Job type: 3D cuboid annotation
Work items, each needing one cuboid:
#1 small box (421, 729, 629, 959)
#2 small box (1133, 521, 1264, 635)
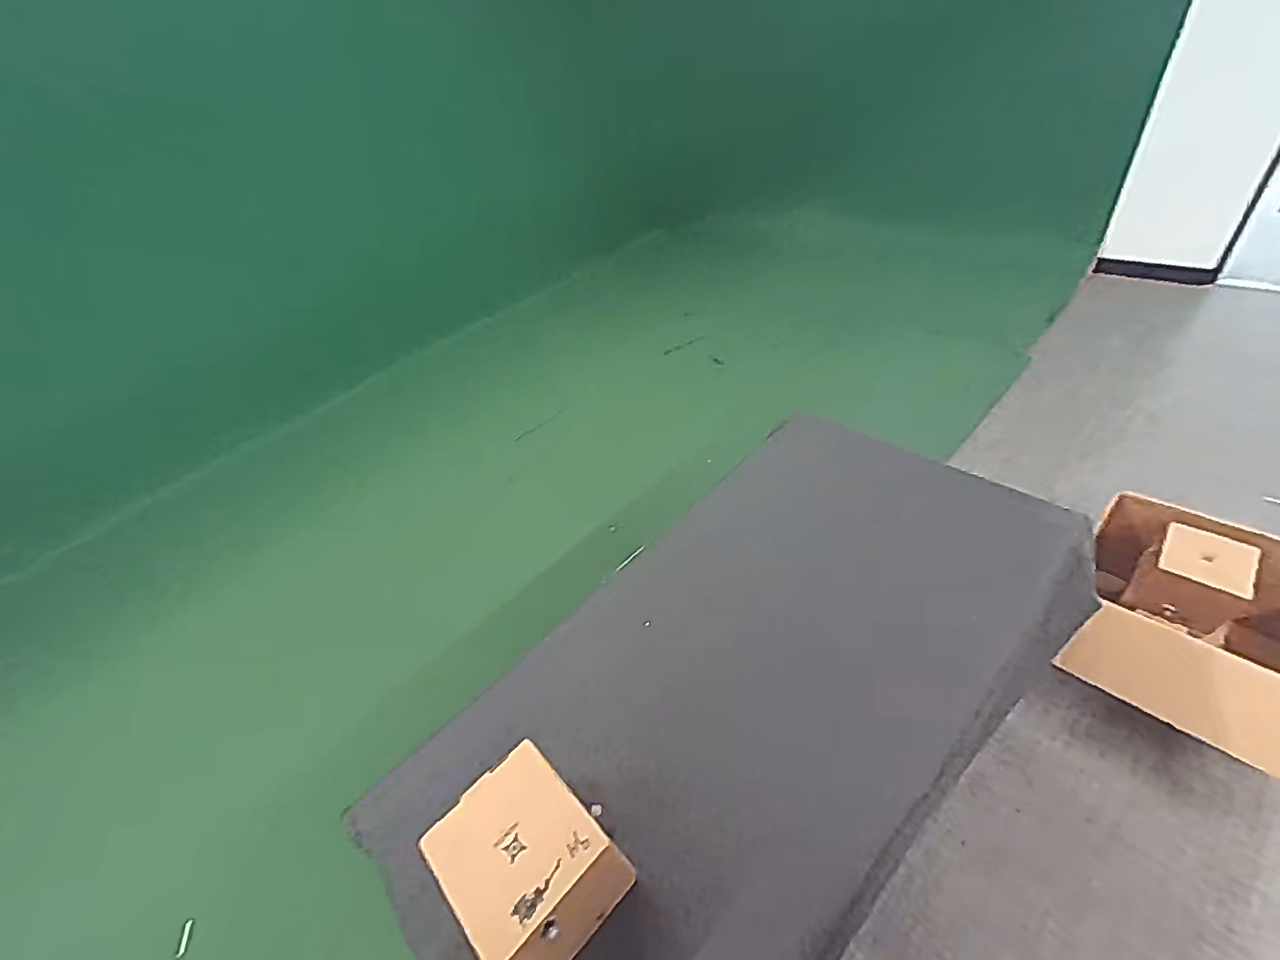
[{"bbox_3d":[-0.138,0.467,0.685,0.168,0.176,0.179,-38,46,-25],"label":"small box"},{"bbox_3d":[1.356,0.241,1.323,0.168,0.176,0.179,26,57,33],"label":"small box"}]
